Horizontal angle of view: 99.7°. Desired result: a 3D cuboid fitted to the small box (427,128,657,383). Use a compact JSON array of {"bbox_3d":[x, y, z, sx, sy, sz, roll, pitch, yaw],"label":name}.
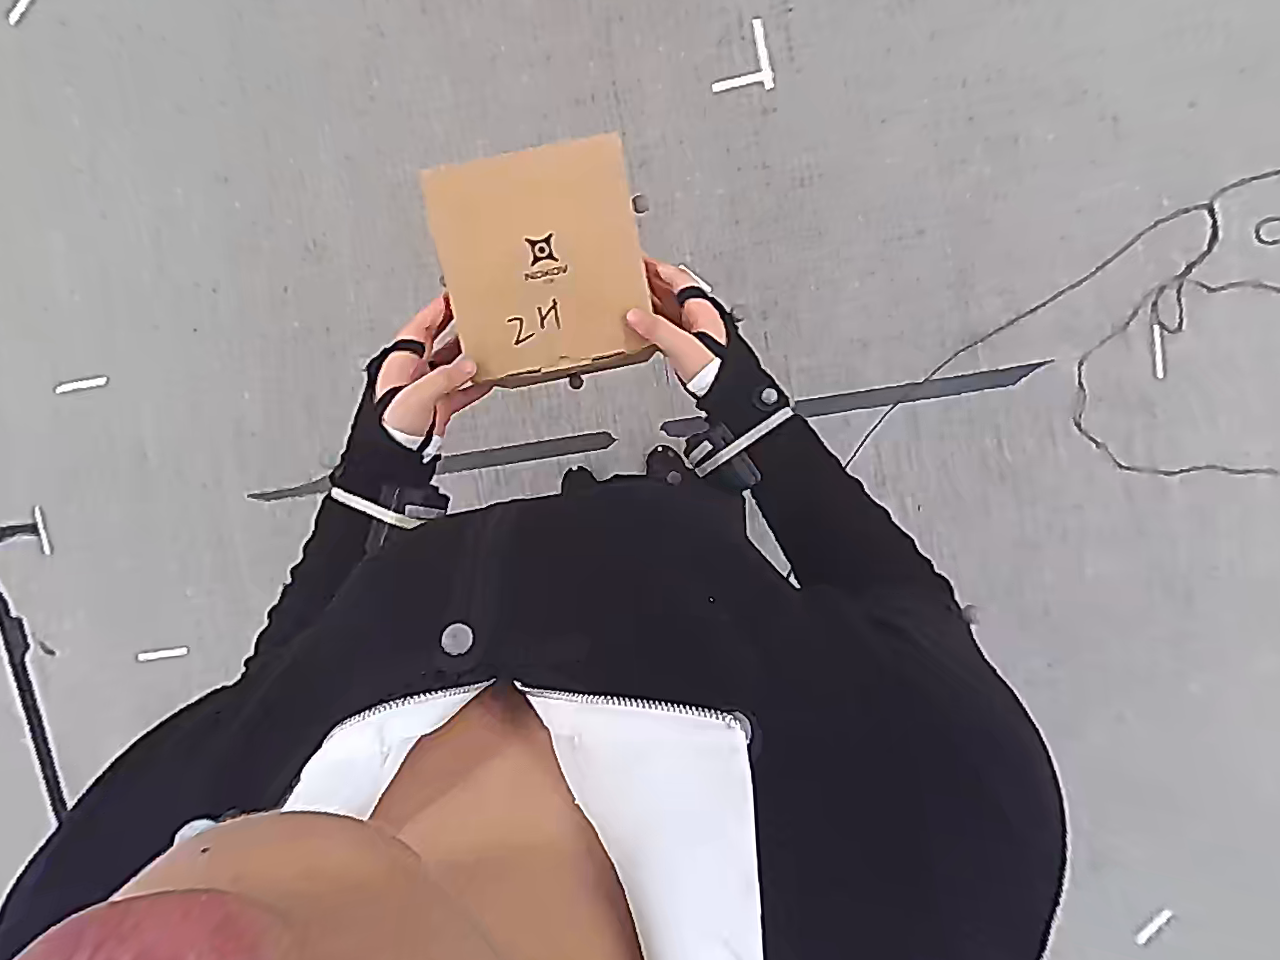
[{"bbox_3d":[-0.083,-0.198,0.528,0.168,0.176,0.179,-11,98,0],"label":"small box"}]
